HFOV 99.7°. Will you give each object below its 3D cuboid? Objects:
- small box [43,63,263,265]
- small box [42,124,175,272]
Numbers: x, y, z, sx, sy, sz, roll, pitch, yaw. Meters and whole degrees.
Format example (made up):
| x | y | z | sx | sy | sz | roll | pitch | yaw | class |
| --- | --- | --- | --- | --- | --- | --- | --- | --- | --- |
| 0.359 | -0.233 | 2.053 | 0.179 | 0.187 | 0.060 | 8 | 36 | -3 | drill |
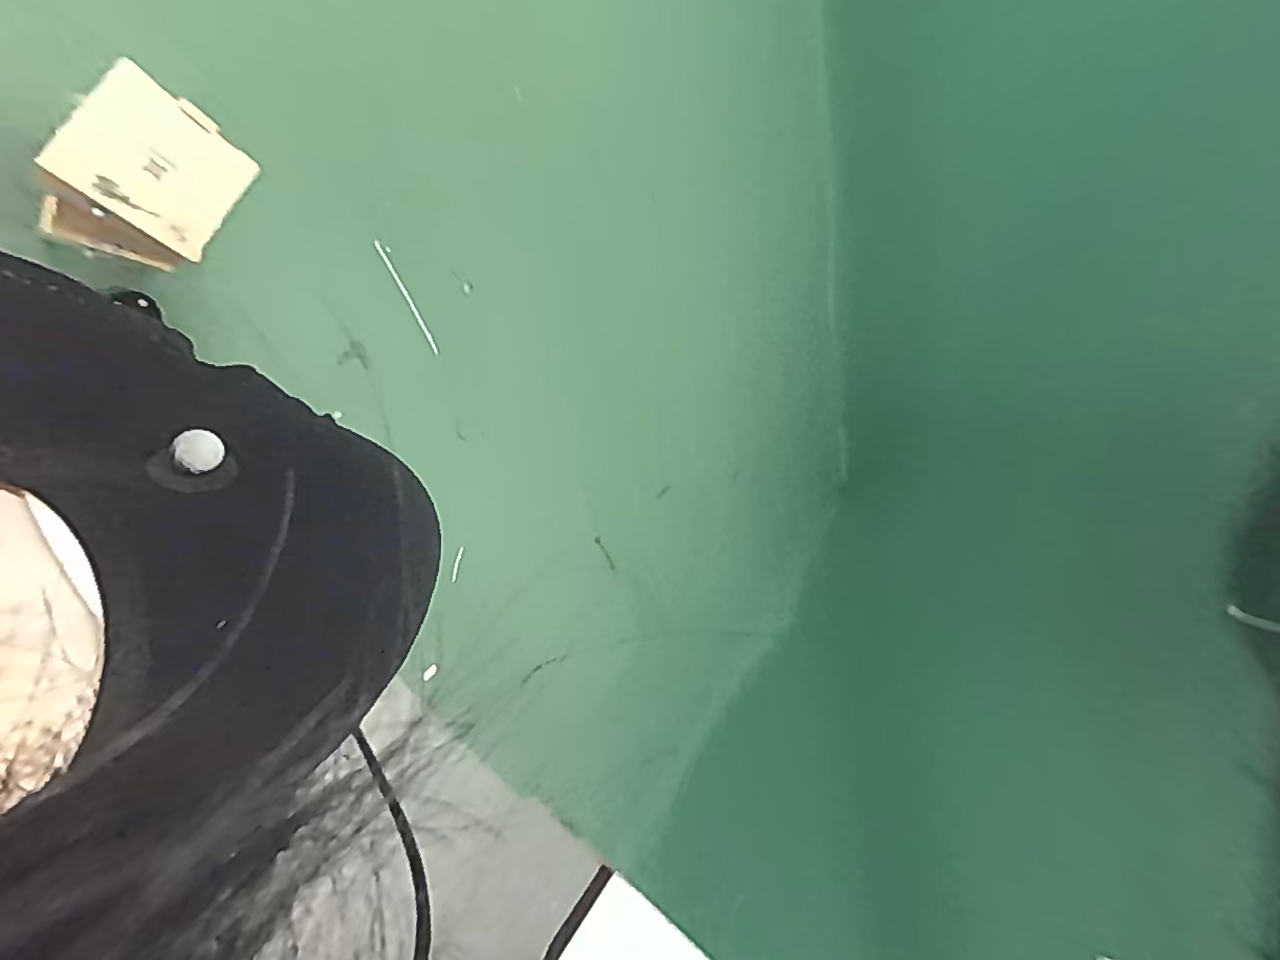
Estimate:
| x | y | z | sx | sy | sz | roll | pitch | yaw | class |
| --- | --- | --- | --- | --- | --- | --- | --- | --- | --- |
| -0.688 | -0.430 | 0.764 | 0.168 | 0.176 | 0.179 | 39 | 74 | -48 | small box |
| -0.938 | -0.489 | 0.970 | 0.168 | 0.176 | 0.179 | 10 | 95 | -50 | small box |
